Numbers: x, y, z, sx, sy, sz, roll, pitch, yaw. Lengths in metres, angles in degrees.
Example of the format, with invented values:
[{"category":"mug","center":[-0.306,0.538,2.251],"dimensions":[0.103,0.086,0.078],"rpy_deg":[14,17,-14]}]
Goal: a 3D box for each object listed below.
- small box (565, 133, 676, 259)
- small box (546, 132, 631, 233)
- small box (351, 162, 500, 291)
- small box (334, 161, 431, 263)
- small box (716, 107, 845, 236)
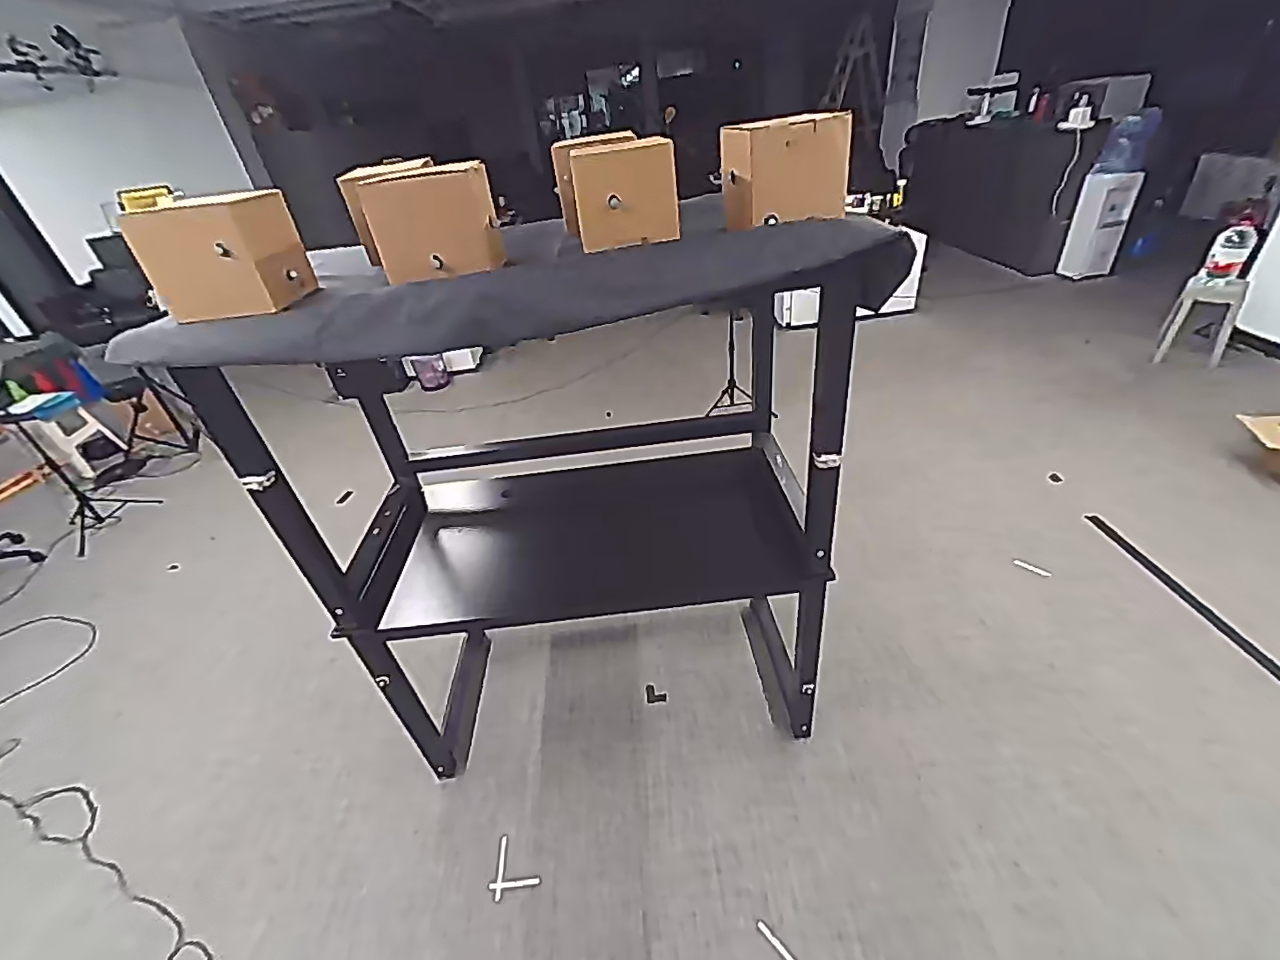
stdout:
[{"category":"small box","center":[-0.034,-0.497,0.953],"dimensions":[0.168,0.176,0.179],"rpy_deg":[-9,34,-1]},{"category":"small box","center":[-0.096,-0.653,1.188],"dimensions":[0.179,0.176,0.168],"rpy_deg":[-8,35,1]},{"category":"small box","center":[-0.352,-0.437,0.930],"dimensions":[0.179,0.176,0.168],"rpy_deg":[-7,33,0]},{"category":"small box","center":[-0.524,-0.582,1.175],"dimensions":[0.168,0.176,0.179],"rpy_deg":[-12,35,-4]},{"category":"small box","center":[0.238,-0.533,0.942],"dimensions":[0.168,0.176,0.179],"rpy_deg":[-11,33,-3]}]
